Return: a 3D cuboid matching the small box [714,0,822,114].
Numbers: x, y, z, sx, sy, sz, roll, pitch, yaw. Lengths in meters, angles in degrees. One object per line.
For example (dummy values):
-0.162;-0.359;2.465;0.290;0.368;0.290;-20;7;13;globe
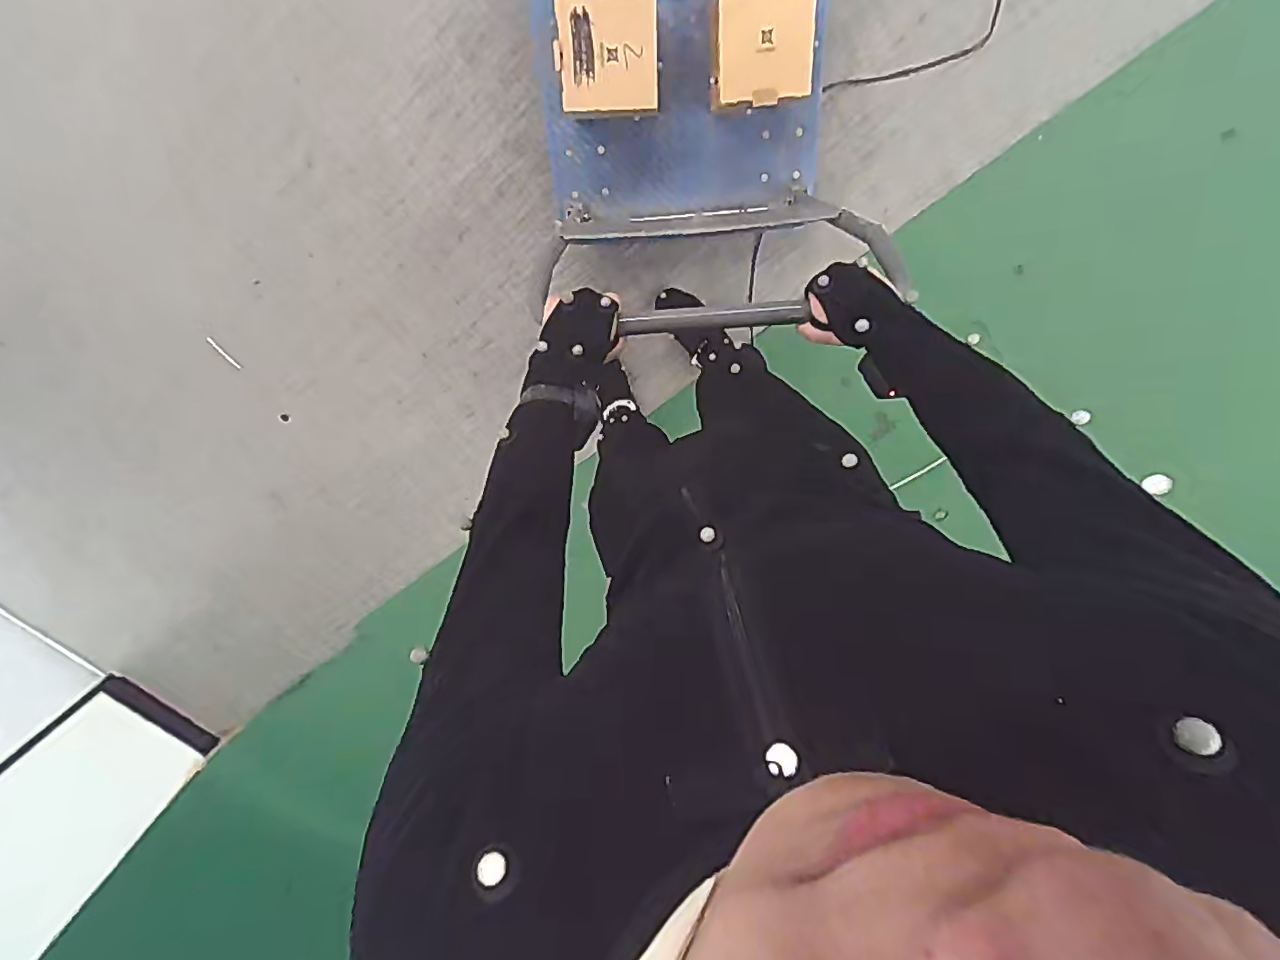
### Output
0.228;-0.796;1.003;0.168;0.176;0.179;-3;121;3;small box
